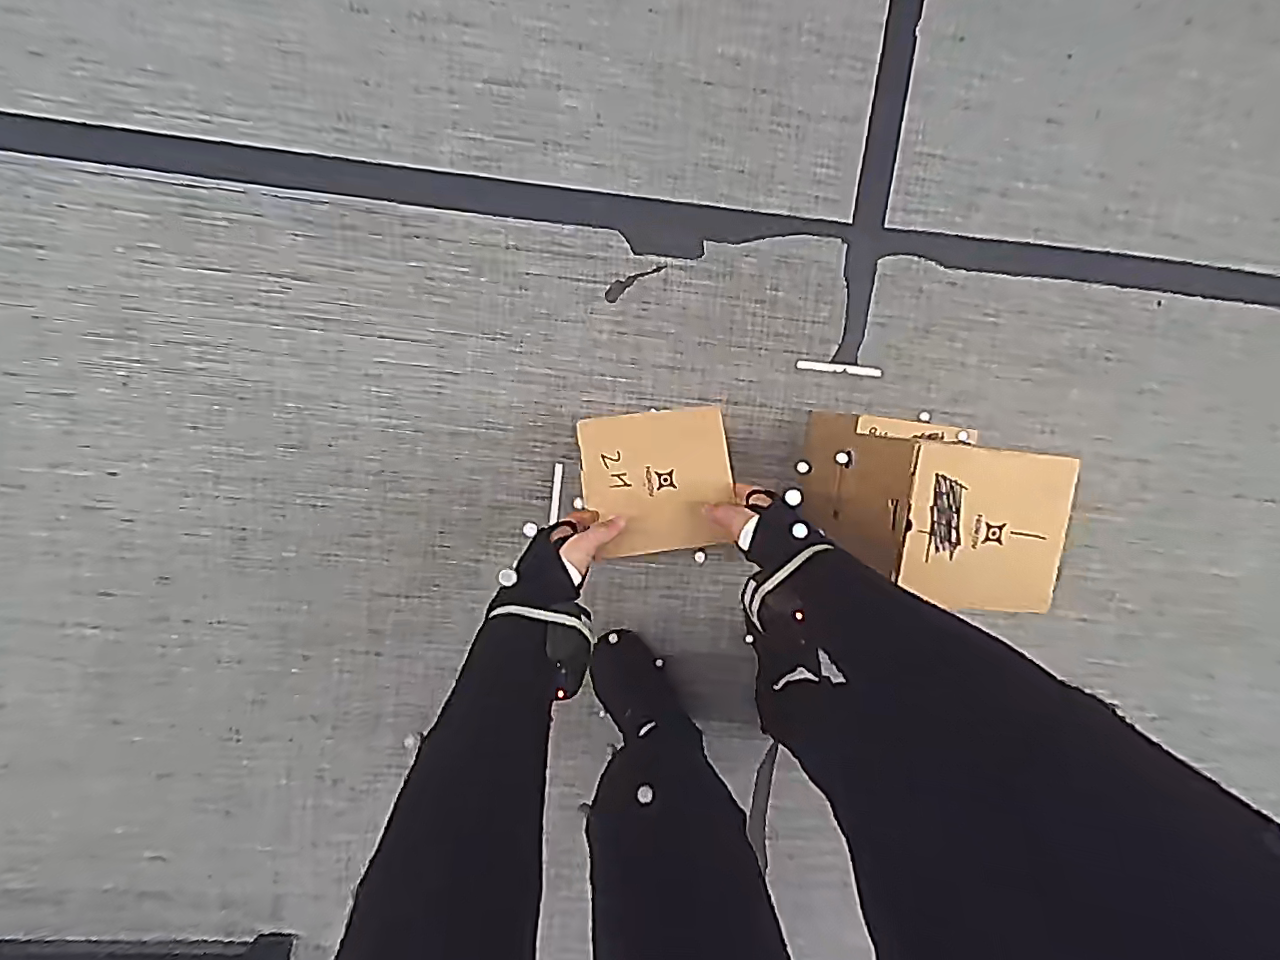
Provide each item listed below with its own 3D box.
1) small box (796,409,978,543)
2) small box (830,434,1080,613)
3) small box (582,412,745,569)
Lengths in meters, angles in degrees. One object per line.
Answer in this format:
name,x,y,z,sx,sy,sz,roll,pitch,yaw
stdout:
small box,0.340,-0.002,0.784,0.168,0.176,0.179,7,99,-5
small box,0.340,0.039,0.622,0.179,0.176,0.168,5,99,-5
small box,0.019,0.021,0.694,0.179,0.176,0.168,-5,77,-5
